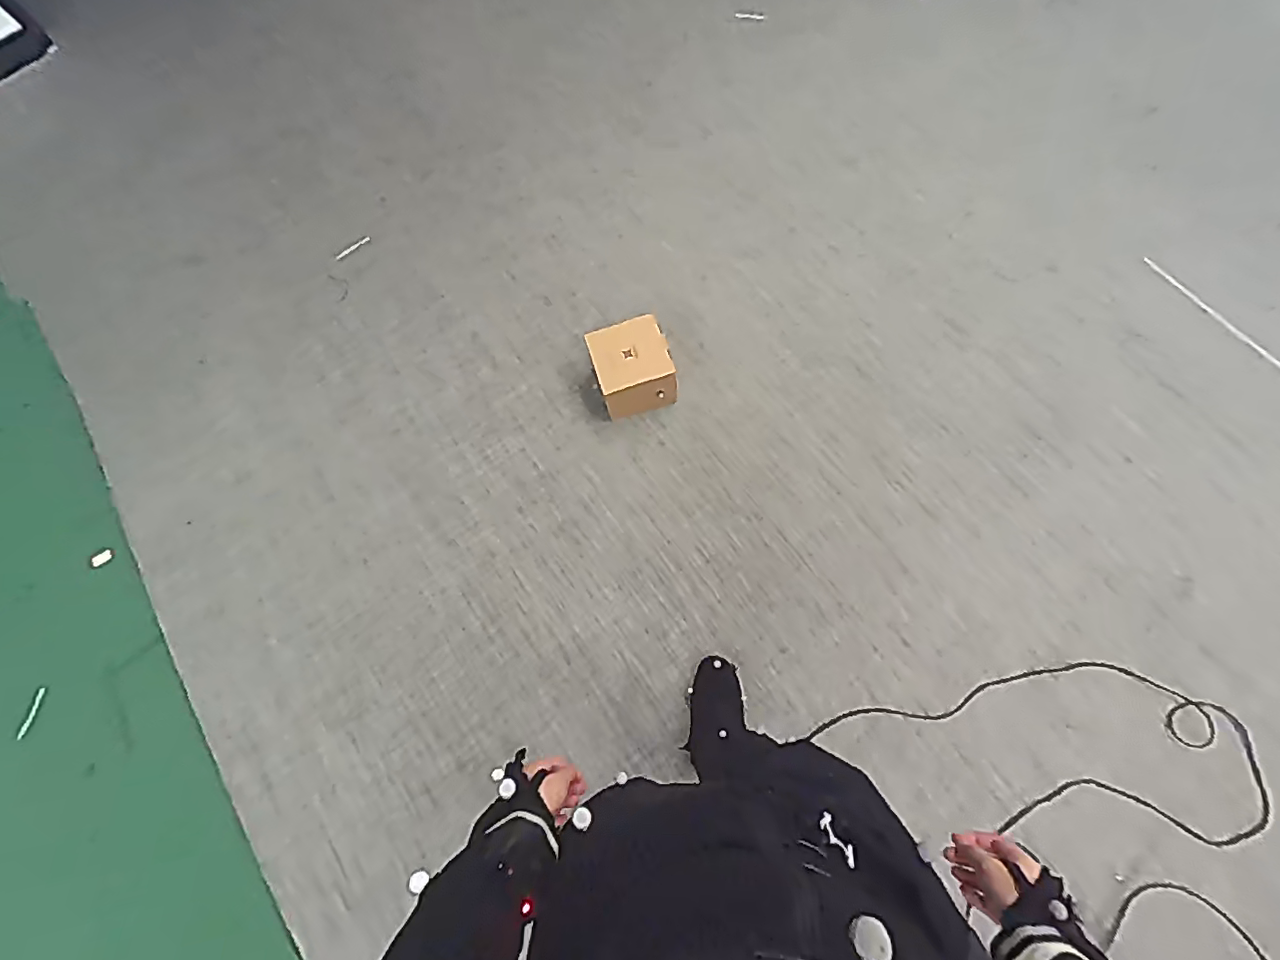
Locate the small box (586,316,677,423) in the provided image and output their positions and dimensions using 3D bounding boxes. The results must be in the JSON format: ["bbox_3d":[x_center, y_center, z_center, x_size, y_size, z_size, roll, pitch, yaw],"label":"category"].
[{"bbox_3d":[-0.016,-0.262,1.315,0.179,0.176,0.168,-19,73,0],"label":"small box"}]
